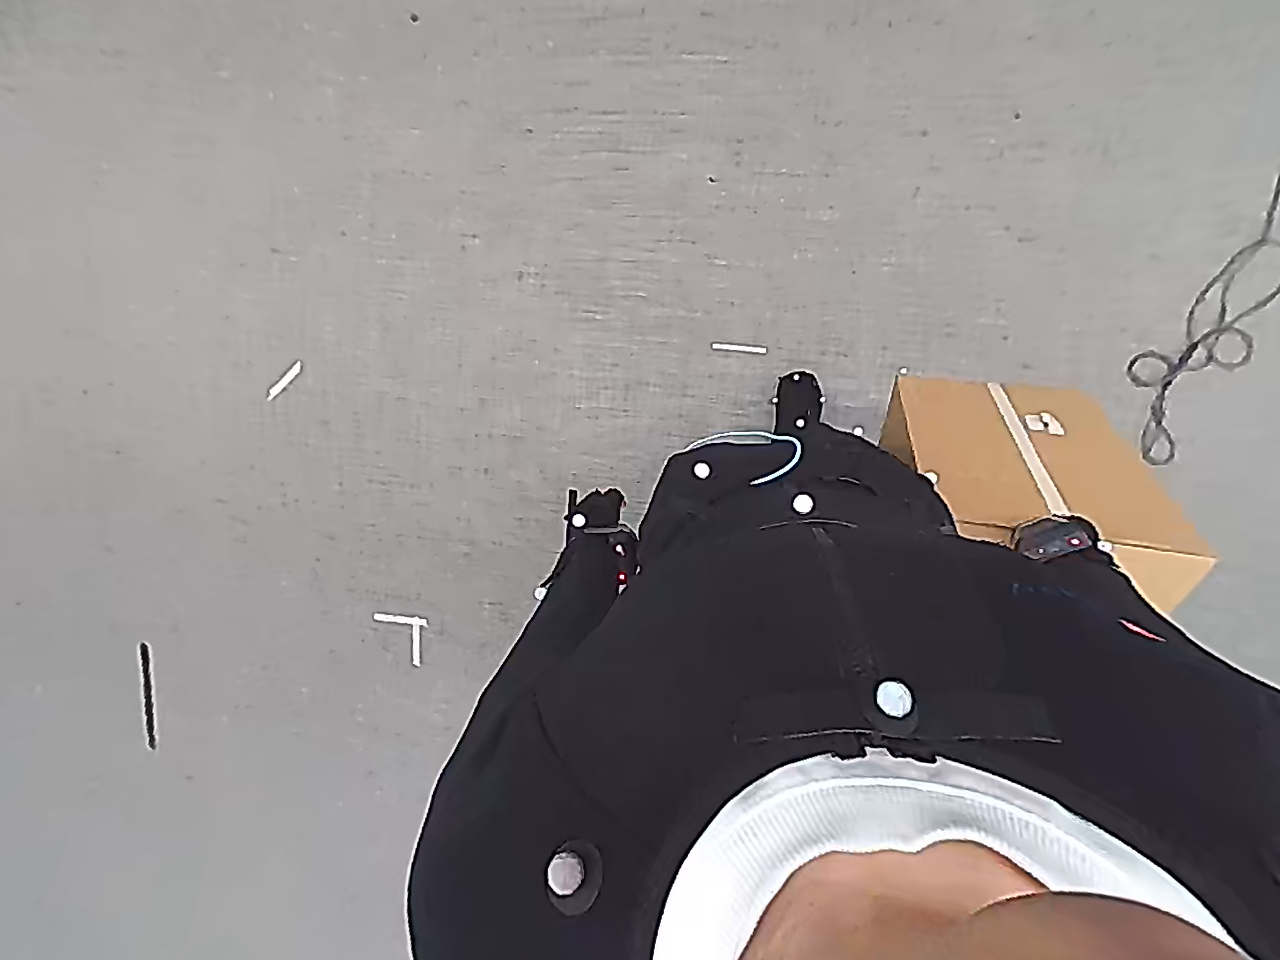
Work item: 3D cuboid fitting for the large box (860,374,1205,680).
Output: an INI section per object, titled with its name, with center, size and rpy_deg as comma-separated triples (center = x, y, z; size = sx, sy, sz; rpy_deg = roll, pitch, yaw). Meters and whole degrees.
[large box]
center = 0.576, 0.059, 0.911
size = 0.320, 0.408, 0.320
rpy_deg = 8, 129, 11
